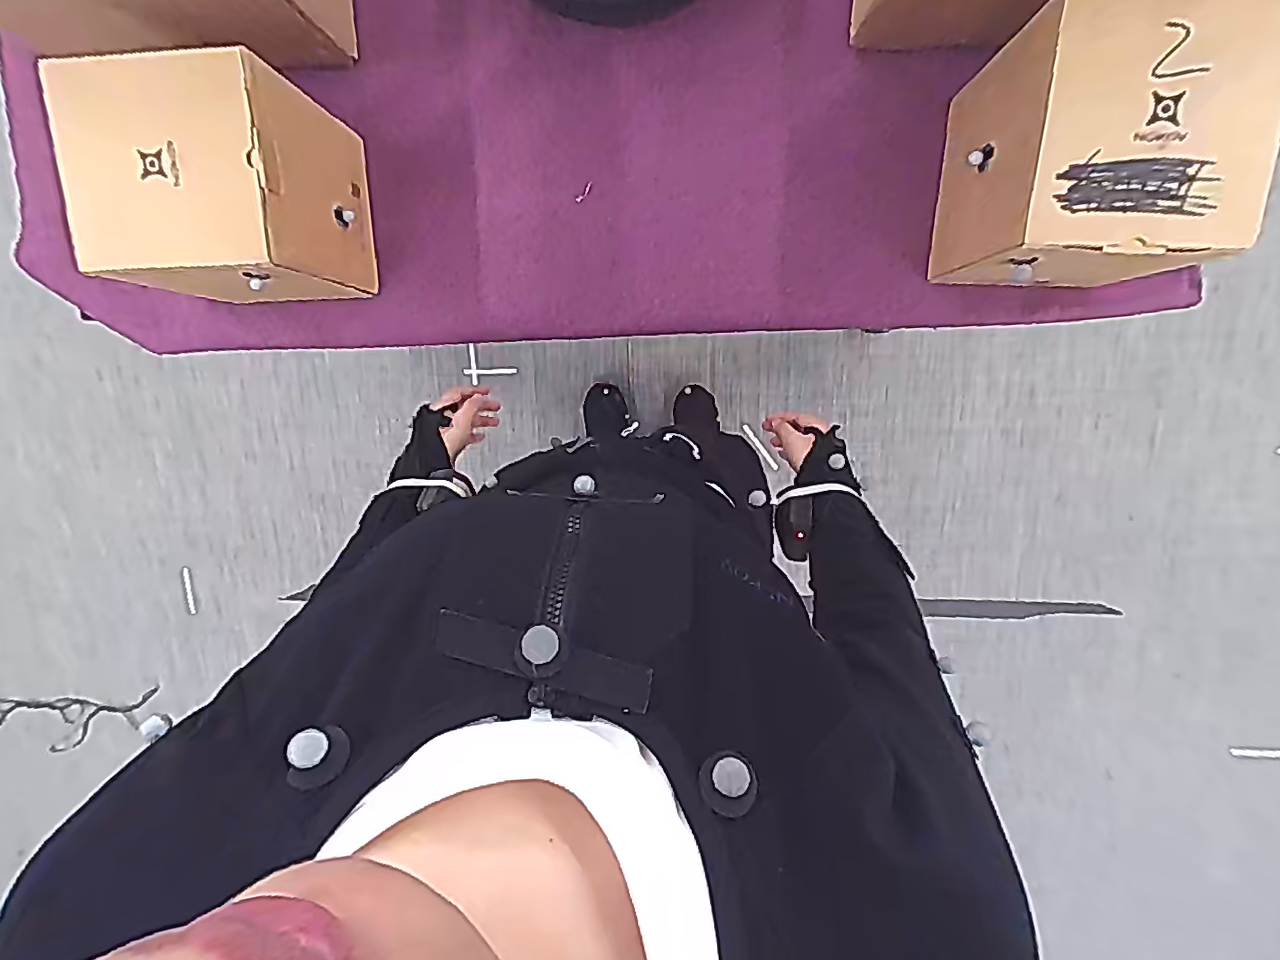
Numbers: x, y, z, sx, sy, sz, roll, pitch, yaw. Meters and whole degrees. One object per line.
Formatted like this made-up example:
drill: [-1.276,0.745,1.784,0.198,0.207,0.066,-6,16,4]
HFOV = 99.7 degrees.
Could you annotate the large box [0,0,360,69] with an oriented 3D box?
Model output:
large box: [-0.455,-0.602,0.396,0.320,0.320,0.408,0,104,3]

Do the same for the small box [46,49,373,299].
small box: [-0.396,-0.277,0.531,0.179,0.176,0.168,-2,100,3]
